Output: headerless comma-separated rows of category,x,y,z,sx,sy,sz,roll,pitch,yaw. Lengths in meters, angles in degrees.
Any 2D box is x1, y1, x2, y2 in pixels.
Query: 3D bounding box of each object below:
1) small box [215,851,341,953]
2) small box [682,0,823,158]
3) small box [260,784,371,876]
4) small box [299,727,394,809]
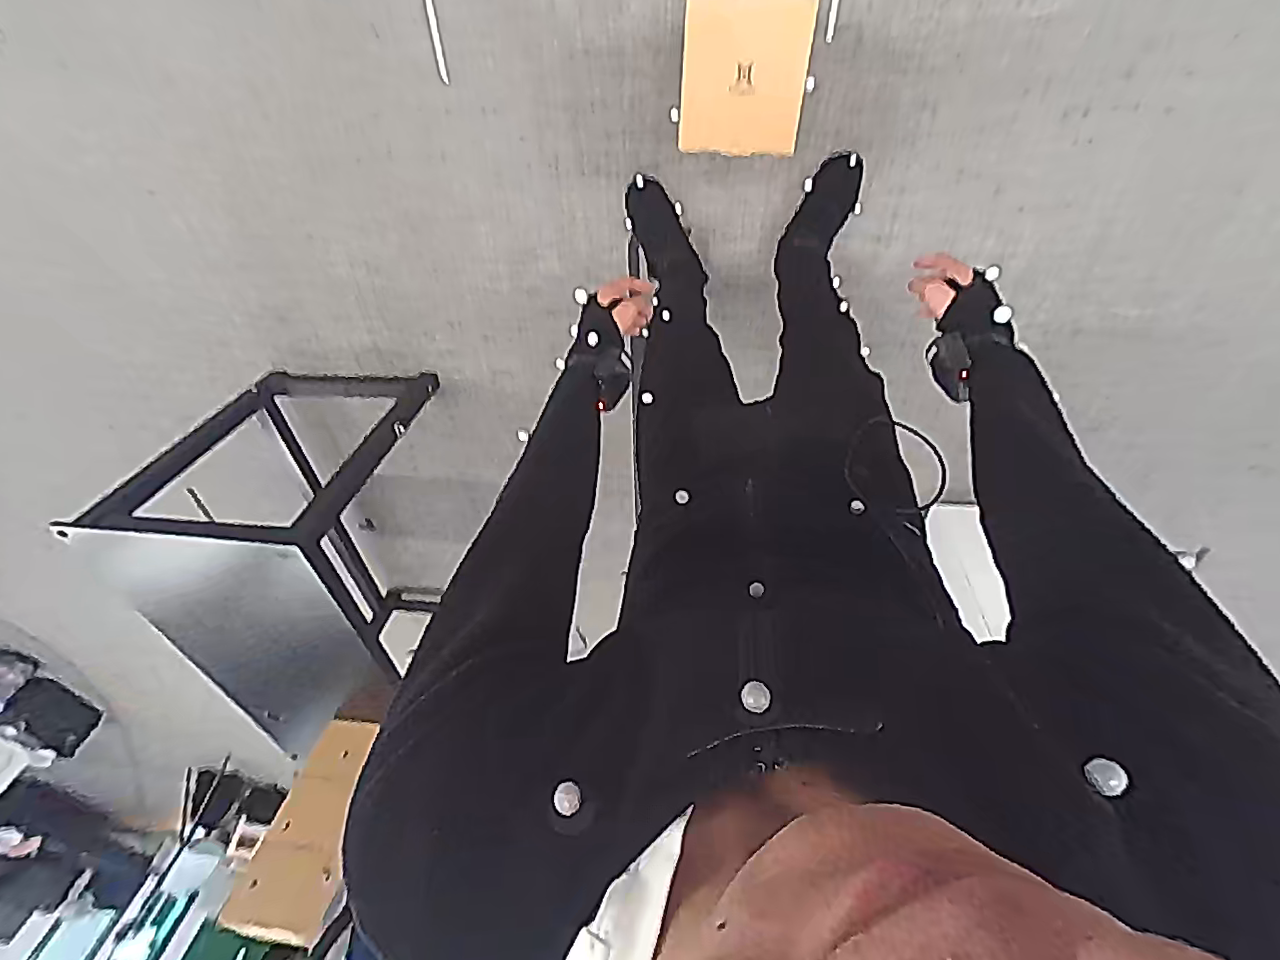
small box,-0.918,1.080,1.390,0.179,0.176,0.168,2,131,7
small box,0.149,-0.579,0.776,0.168,0.176,0.179,4,131,5
small box,-0.898,0.977,1.515,0.179,0.176,0.168,2,130,7
small box,-0.875,0.872,1.640,0.179,0.176,0.168,1,130,8
